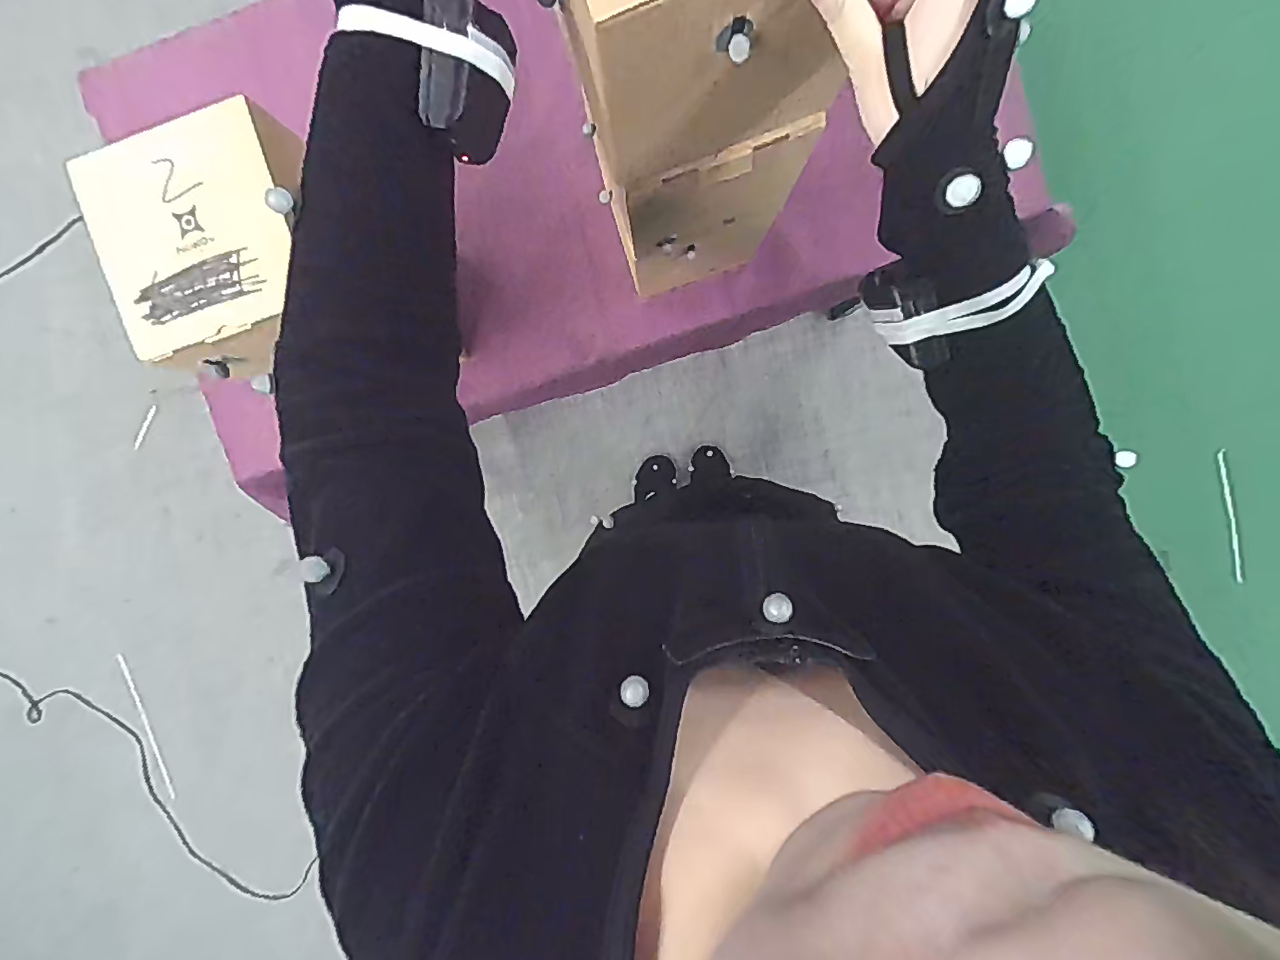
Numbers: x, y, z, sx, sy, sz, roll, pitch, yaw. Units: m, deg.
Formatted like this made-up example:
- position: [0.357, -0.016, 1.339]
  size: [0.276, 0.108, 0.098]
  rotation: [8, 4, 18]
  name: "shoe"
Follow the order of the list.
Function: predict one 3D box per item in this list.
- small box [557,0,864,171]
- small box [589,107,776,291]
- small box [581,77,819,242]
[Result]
- position: [0.033, -0.326, 0.329]
  size: [0.179, 0.176, 0.168]
  rotation: [-18, 95, 3]
  name: "small box"
- position: [0.049, -0.356, 0.659]
  size: [0.168, 0.176, 0.179]
  rotation: [-17, 94, 6]
  name: "small box"
- position: [0.042, -0.341, 0.495]
  size: [0.168, 0.176, 0.179]
  rotation: [-18, 94, 4]
  name: "small box"
